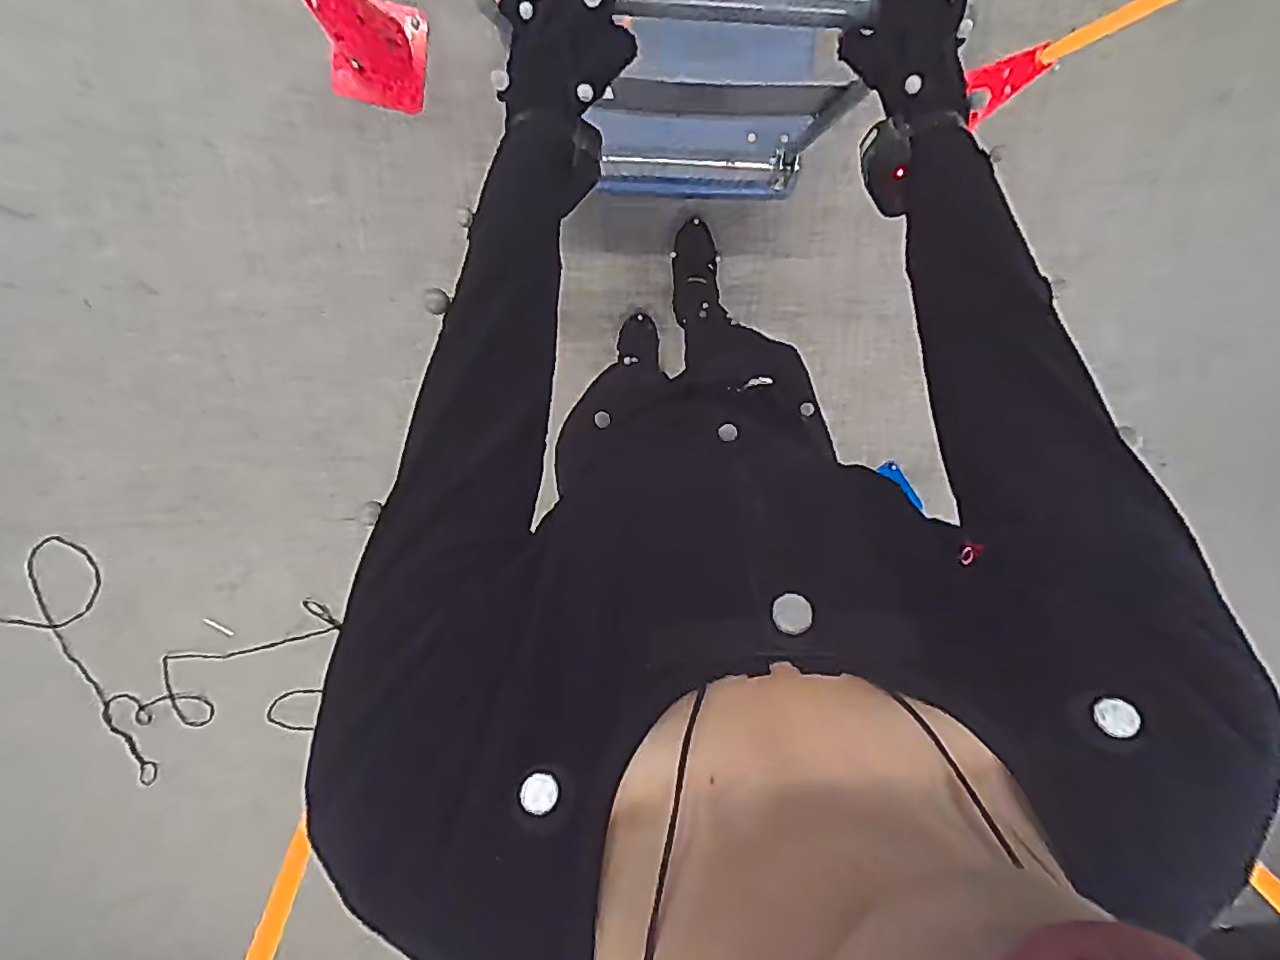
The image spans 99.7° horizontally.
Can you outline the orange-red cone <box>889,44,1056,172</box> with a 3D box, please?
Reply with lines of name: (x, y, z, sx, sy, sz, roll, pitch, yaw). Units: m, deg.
orange-red cone: (0.714, -0.803, 1.123, 0.198, 0.360, 0.199, 9, 108, -5)
